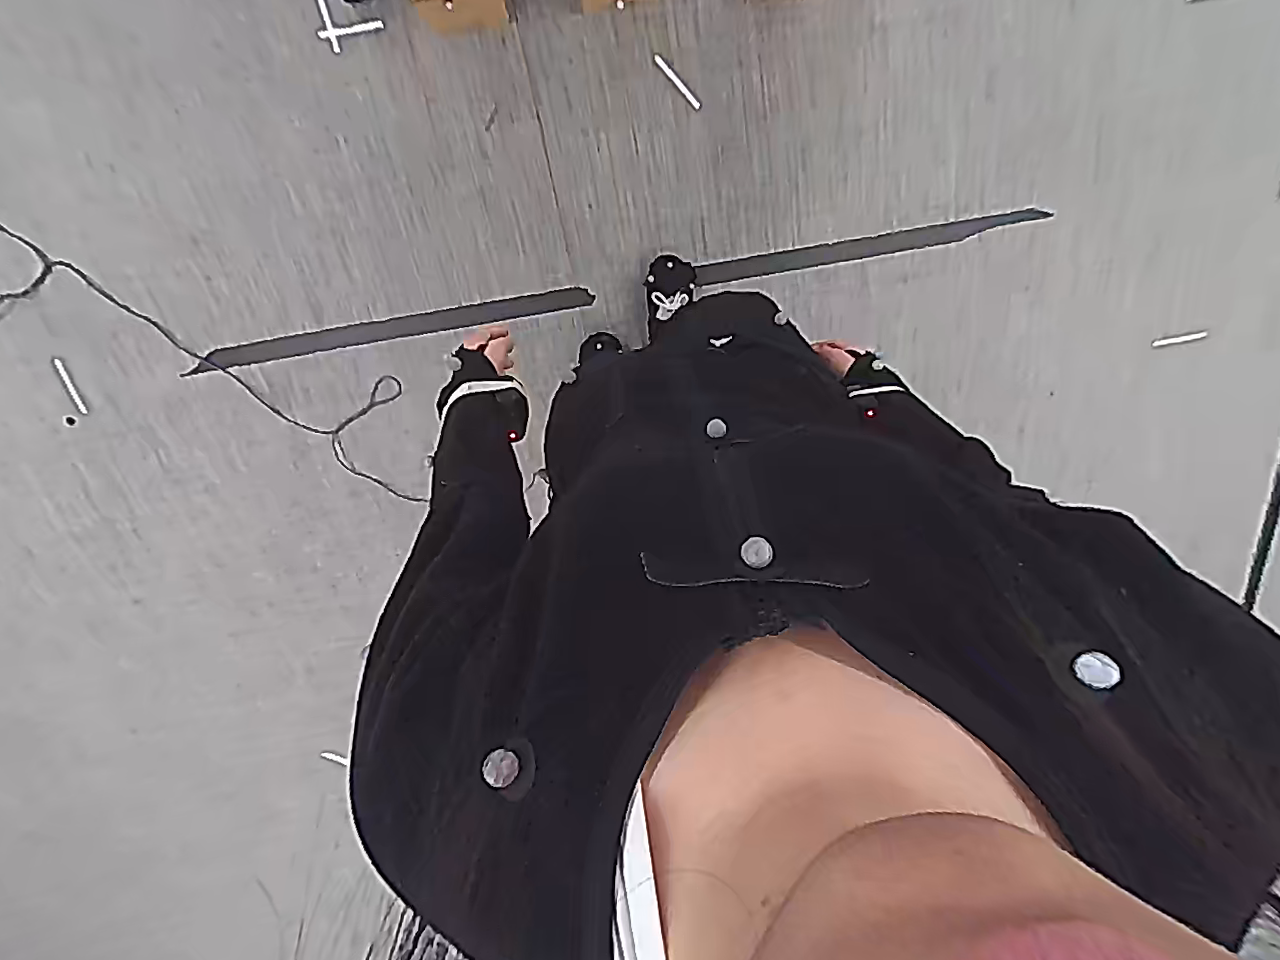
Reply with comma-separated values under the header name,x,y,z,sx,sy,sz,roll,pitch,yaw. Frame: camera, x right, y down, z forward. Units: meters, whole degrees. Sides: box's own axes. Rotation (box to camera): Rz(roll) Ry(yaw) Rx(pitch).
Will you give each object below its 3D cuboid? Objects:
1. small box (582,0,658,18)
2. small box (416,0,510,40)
name,x,y,z,sx,sy,sz,roll,pitch,yaw
small box,-0.047,-1.058,1.056,0.168,0.176,0.179,-12,111,0
small box,-0.359,-1.004,1.050,0.168,0.176,0.179,-9,109,-1
